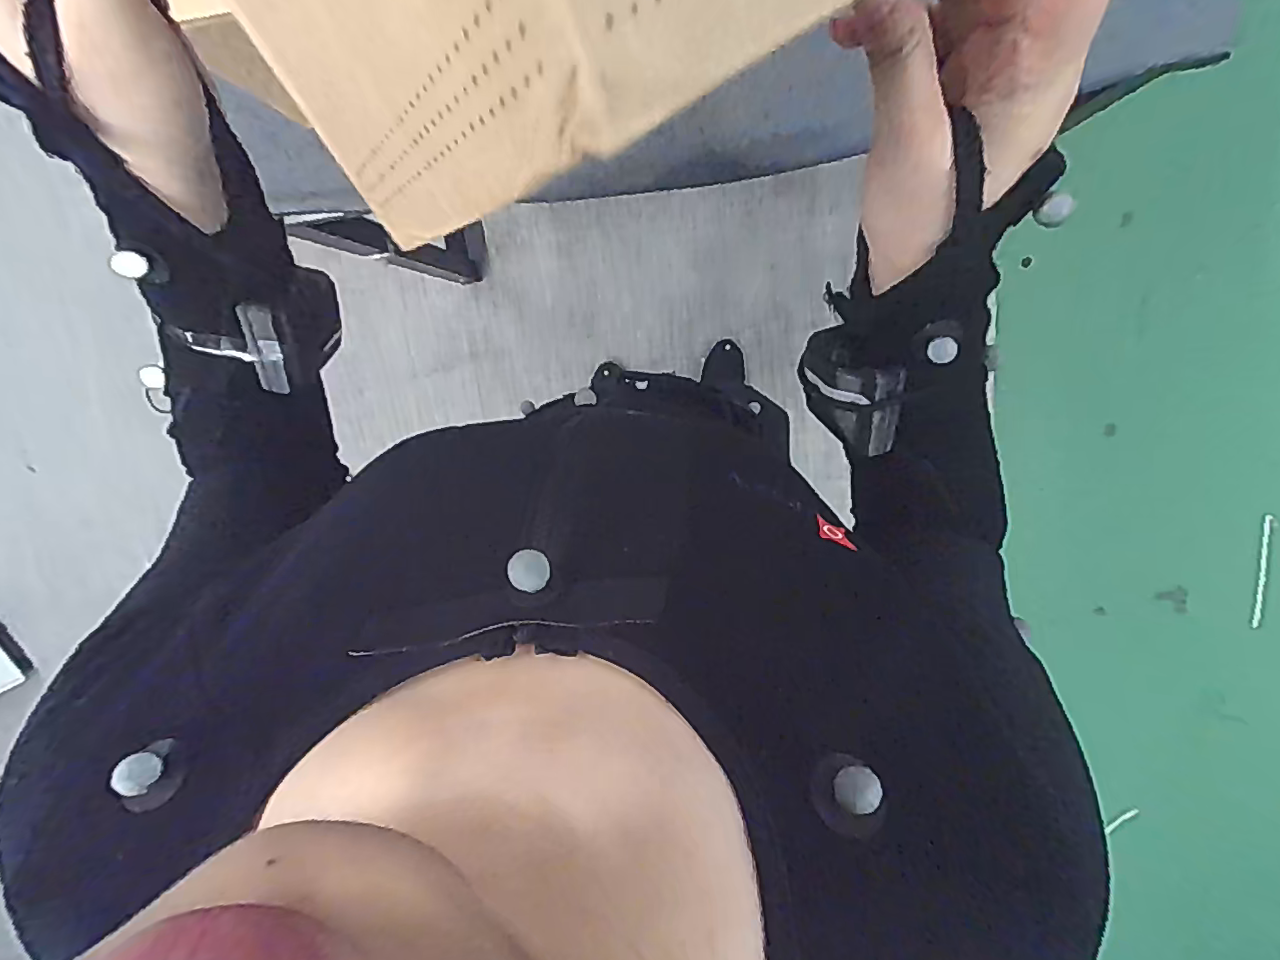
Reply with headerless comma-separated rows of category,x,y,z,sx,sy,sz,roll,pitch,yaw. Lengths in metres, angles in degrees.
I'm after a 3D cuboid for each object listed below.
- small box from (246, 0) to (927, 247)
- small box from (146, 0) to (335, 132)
small box,-0.031,-0.188,0.158,0.168,0.179,0.176,-45,126,-17
small box,-0.253,-0.406,0.428,0.179,0.176,0.168,-5,103,7
